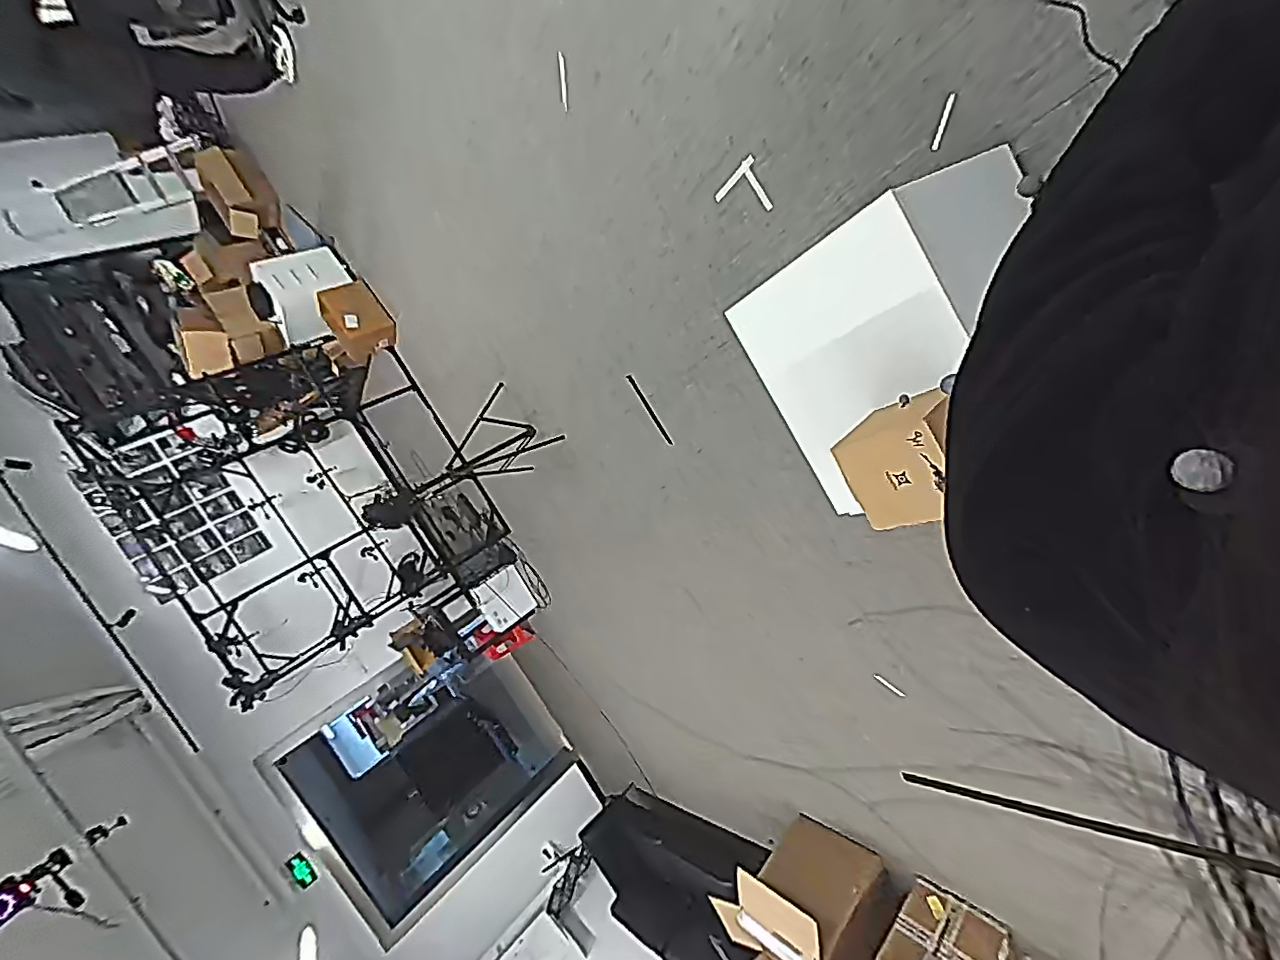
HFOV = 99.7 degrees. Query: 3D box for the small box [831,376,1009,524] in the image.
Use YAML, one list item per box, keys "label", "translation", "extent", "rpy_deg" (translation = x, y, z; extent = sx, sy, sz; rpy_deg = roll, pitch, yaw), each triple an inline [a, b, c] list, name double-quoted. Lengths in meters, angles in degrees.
- label: "small box"
  translation: [0.462, -0.047, 0.896]
  extent: [0.168, 0.176, 0.179]
  rpy_deg: [59, 148, -5]
